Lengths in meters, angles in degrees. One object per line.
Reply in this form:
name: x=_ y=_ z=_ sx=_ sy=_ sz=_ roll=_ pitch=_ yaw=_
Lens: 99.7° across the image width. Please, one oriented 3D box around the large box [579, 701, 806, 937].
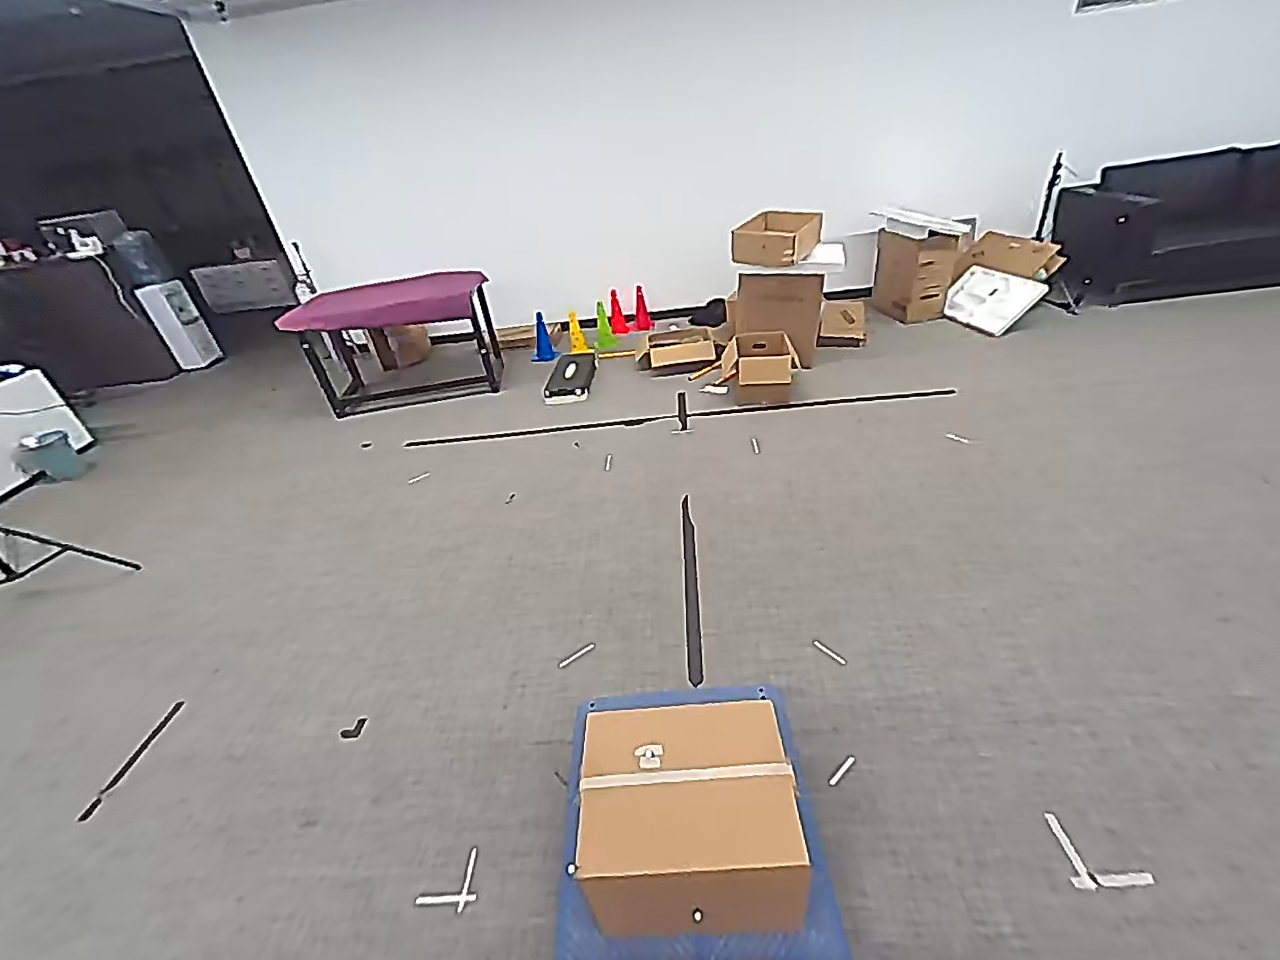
large box: x=0.106 y=0.714 z=1.143 sx=0.408 sy=0.320 sz=0.320 roll=-7 pitch=33 yaw=4
